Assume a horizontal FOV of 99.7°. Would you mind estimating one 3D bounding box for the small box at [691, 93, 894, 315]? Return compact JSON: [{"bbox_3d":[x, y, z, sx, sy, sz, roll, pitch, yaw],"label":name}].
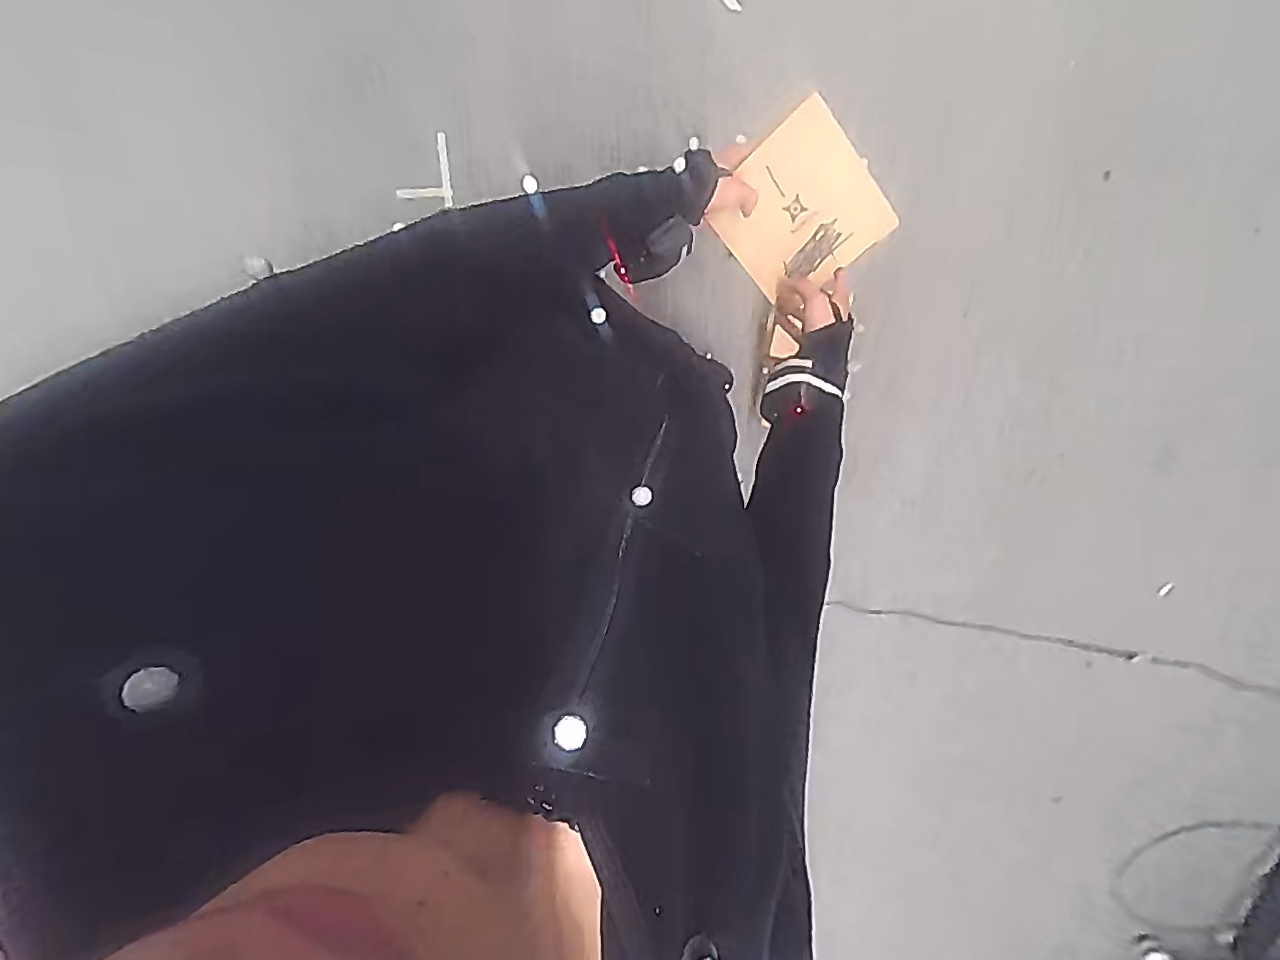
[{"bbox_3d":[0.182,-0.348,0.691,0.168,0.176,0.179,-39,111,22],"label":"small box"}]
